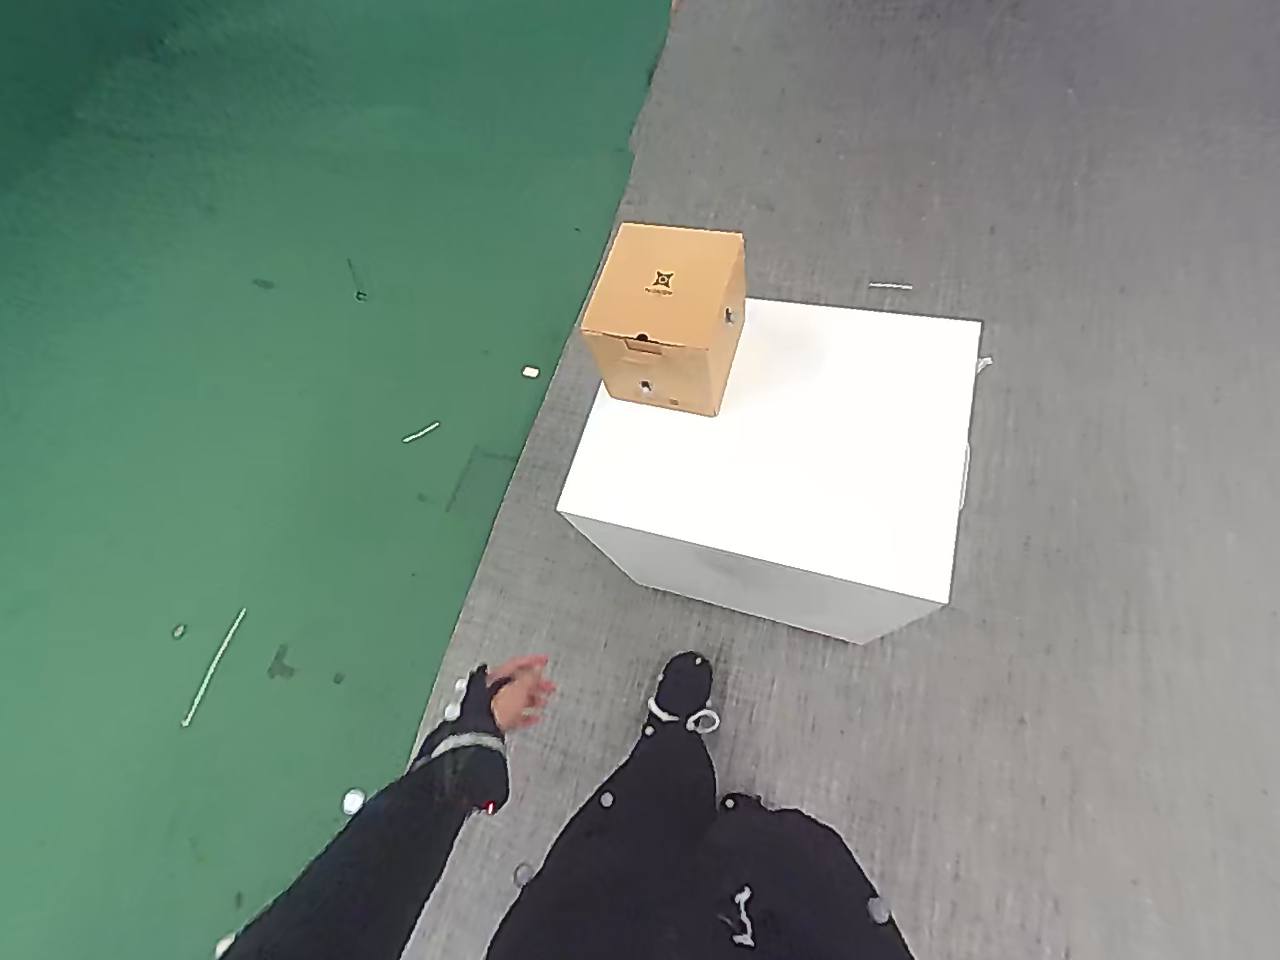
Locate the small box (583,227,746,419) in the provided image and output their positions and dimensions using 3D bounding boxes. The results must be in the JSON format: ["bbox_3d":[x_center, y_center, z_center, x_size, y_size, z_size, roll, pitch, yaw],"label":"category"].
[{"bbox_3d":[0.043,-0.210,0.743,0.168,0.176,0.179,13,72,16],"label":"small box"}]
